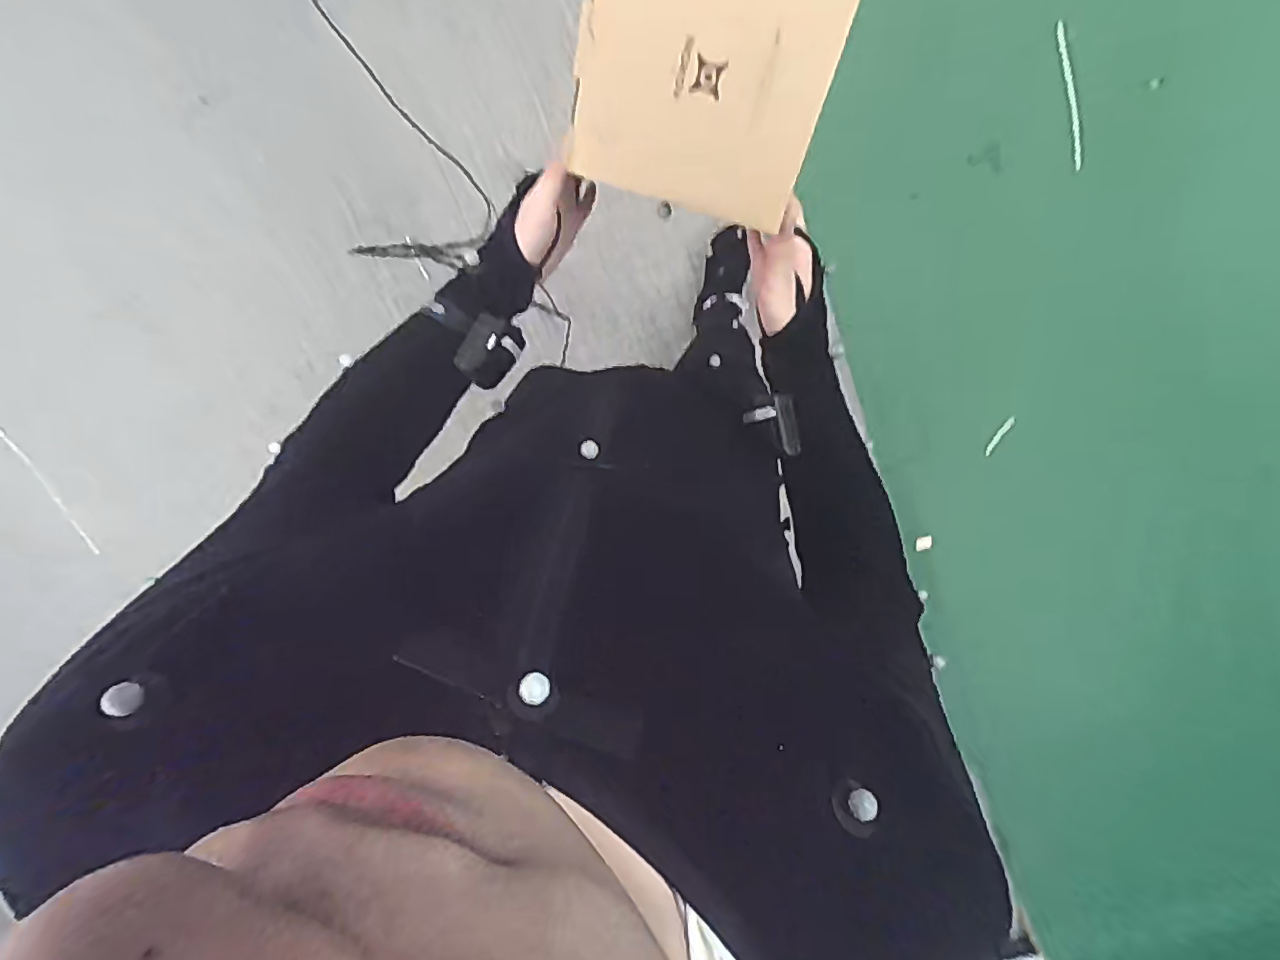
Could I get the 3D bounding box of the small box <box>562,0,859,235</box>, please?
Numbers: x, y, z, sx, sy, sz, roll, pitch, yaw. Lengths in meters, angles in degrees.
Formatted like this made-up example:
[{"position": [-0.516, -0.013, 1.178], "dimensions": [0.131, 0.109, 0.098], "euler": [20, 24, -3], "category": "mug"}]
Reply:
[{"position": [0.051, -0.320, 0.452], "dimensions": [0.179, 0.176, 0.168], "euler": [16, 120, -3], "category": "small box"}]
